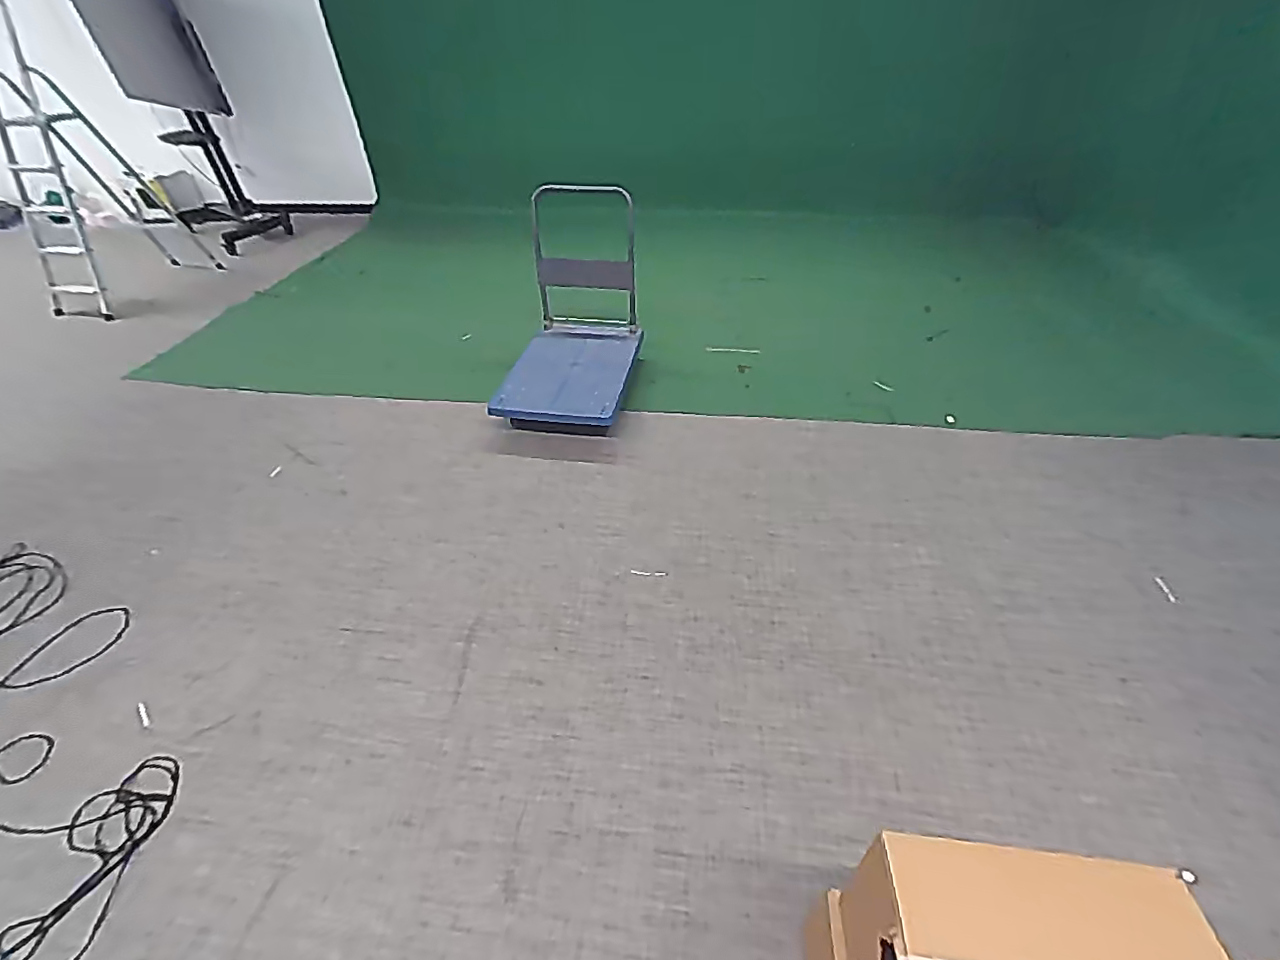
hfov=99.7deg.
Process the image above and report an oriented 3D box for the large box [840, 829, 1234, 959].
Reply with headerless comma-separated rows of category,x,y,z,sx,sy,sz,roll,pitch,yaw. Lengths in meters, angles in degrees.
large box,0.534,0.735,0.742,0.408,0.320,0.320,4,38,6
